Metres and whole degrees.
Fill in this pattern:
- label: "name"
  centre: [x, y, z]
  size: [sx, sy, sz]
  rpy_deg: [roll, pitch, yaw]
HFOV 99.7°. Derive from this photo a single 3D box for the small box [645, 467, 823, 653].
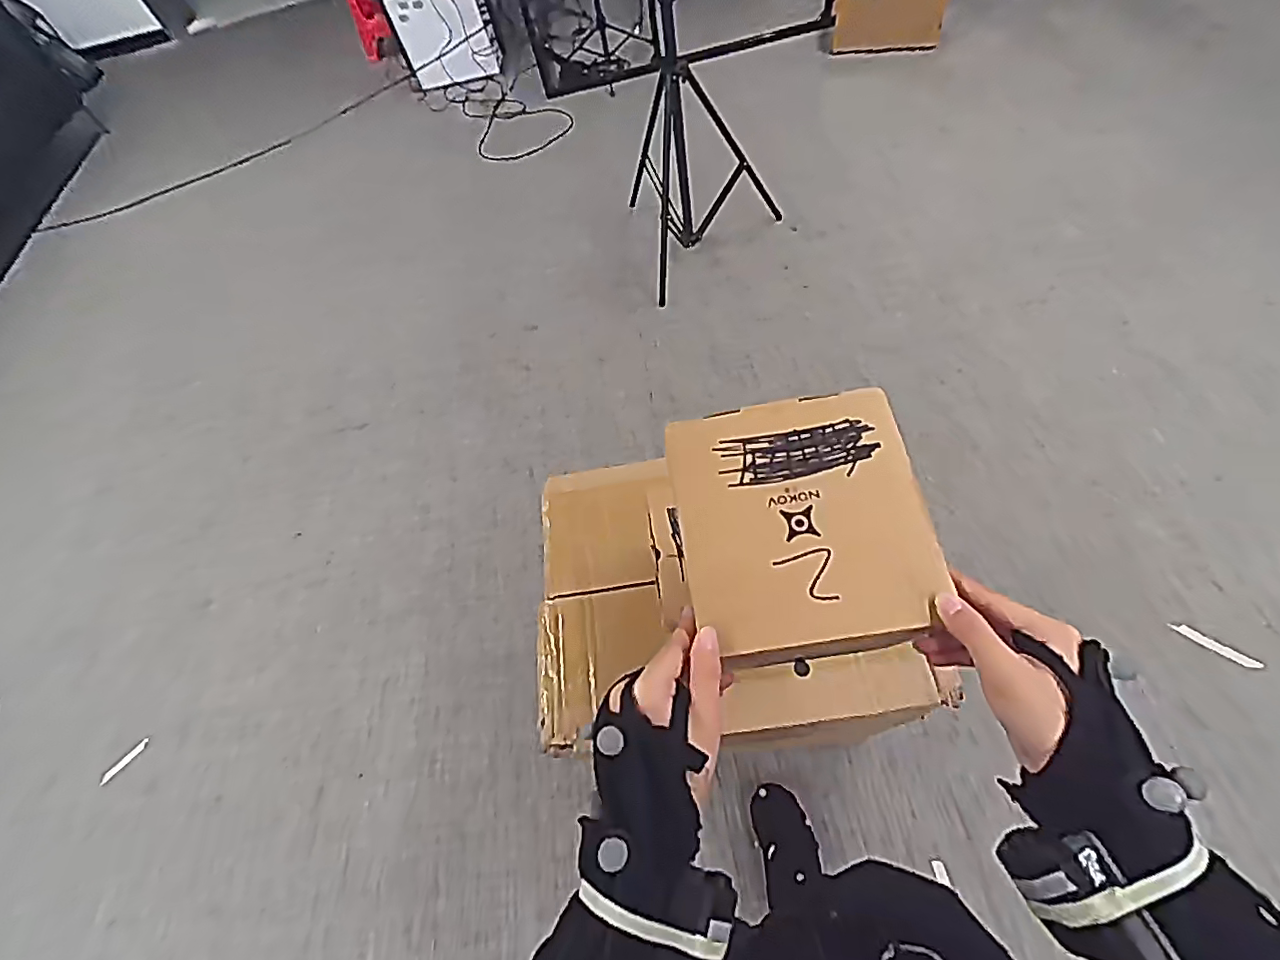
- label: "small box"
  centre: [0.111, 0.107, 0.670]
  size: [0.179, 0.176, 0.168]
  rpy_deg: [-10, 60, 5]
